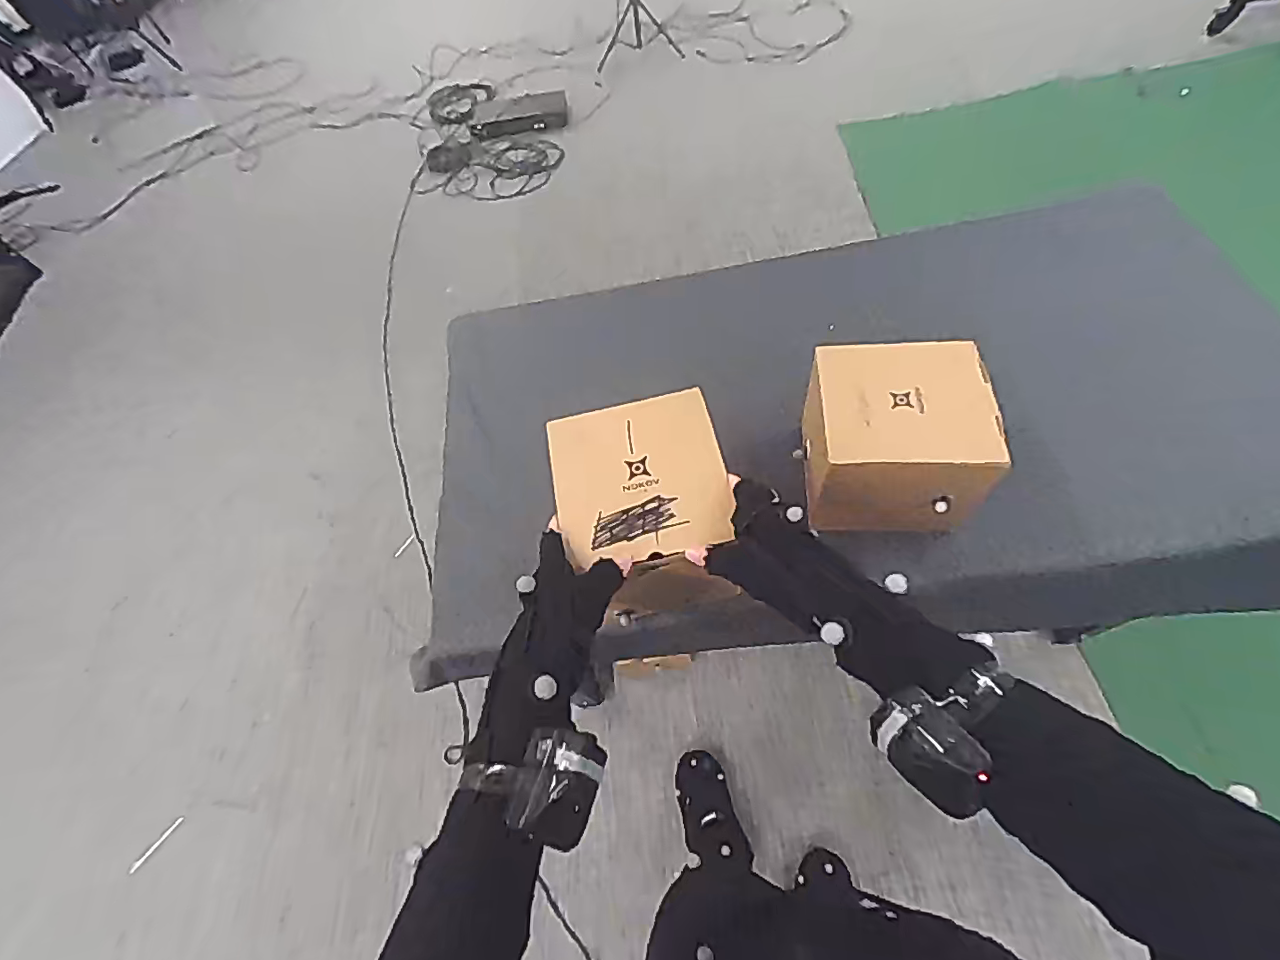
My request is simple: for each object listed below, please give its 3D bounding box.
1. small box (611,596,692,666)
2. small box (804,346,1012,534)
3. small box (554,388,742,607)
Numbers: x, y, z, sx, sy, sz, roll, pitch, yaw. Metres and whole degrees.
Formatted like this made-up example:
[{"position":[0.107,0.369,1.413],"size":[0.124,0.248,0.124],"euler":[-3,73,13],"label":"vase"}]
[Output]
[{"position":[0.030,0.350,1.324],"size":[0.168,0.176,0.179],"euler":[-13,61,2],"label":"small box"},{"position":[0.304,-0.042,0.657],"size":[0.179,0.176,0.168],"euler":[0,60,10],"label":"small box"},{"position":[0.012,0.031,0.596],"size":[0.168,0.176,0.179],"euler":[-11,61,2],"label":"small box"}]
